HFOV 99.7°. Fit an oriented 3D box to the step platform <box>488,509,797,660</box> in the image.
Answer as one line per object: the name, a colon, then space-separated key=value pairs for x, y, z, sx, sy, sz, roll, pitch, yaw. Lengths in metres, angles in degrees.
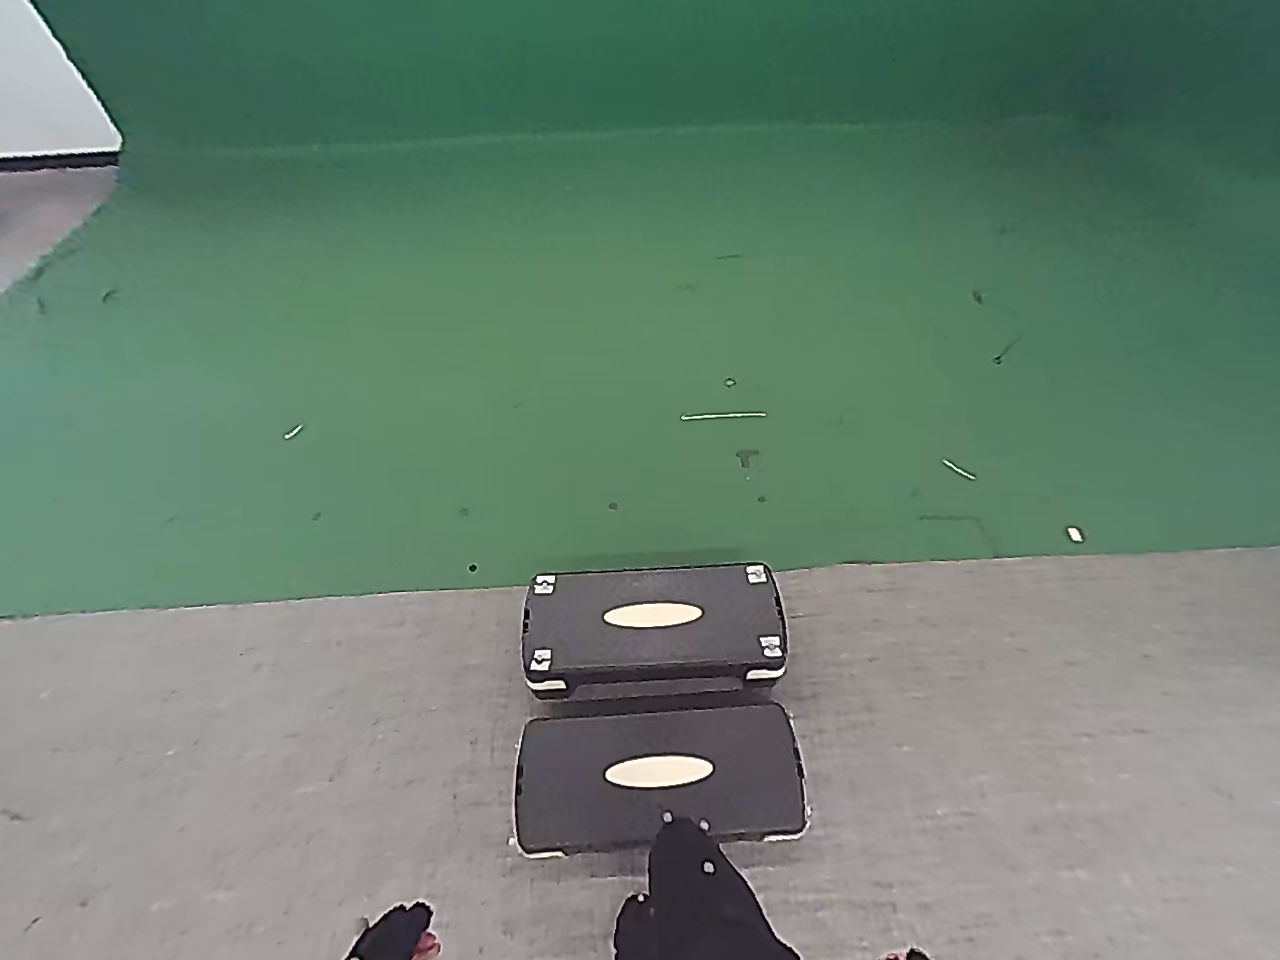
step platform: x=0.005 y=0.251 z=1.288 sx=0.684 sy=0.204 sz=0.286 roll=-4 pitch=54 yaw=0
